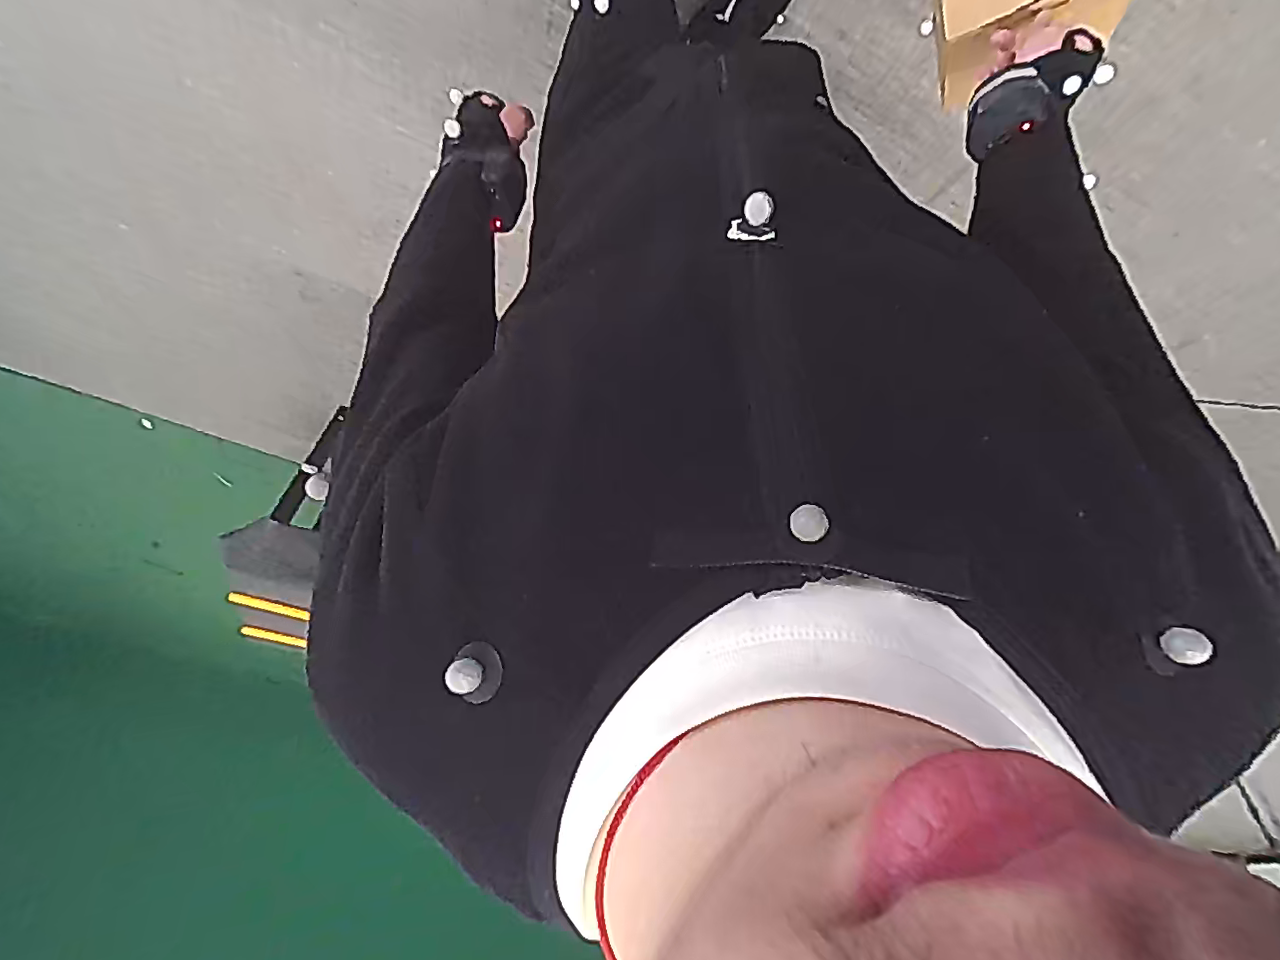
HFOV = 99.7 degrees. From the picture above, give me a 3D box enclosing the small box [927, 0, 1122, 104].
[{"bbox_3d":[0.407,-0.549,0.585,0.168,0.176,0.179,-10,95,32],"label":"small box"}]
